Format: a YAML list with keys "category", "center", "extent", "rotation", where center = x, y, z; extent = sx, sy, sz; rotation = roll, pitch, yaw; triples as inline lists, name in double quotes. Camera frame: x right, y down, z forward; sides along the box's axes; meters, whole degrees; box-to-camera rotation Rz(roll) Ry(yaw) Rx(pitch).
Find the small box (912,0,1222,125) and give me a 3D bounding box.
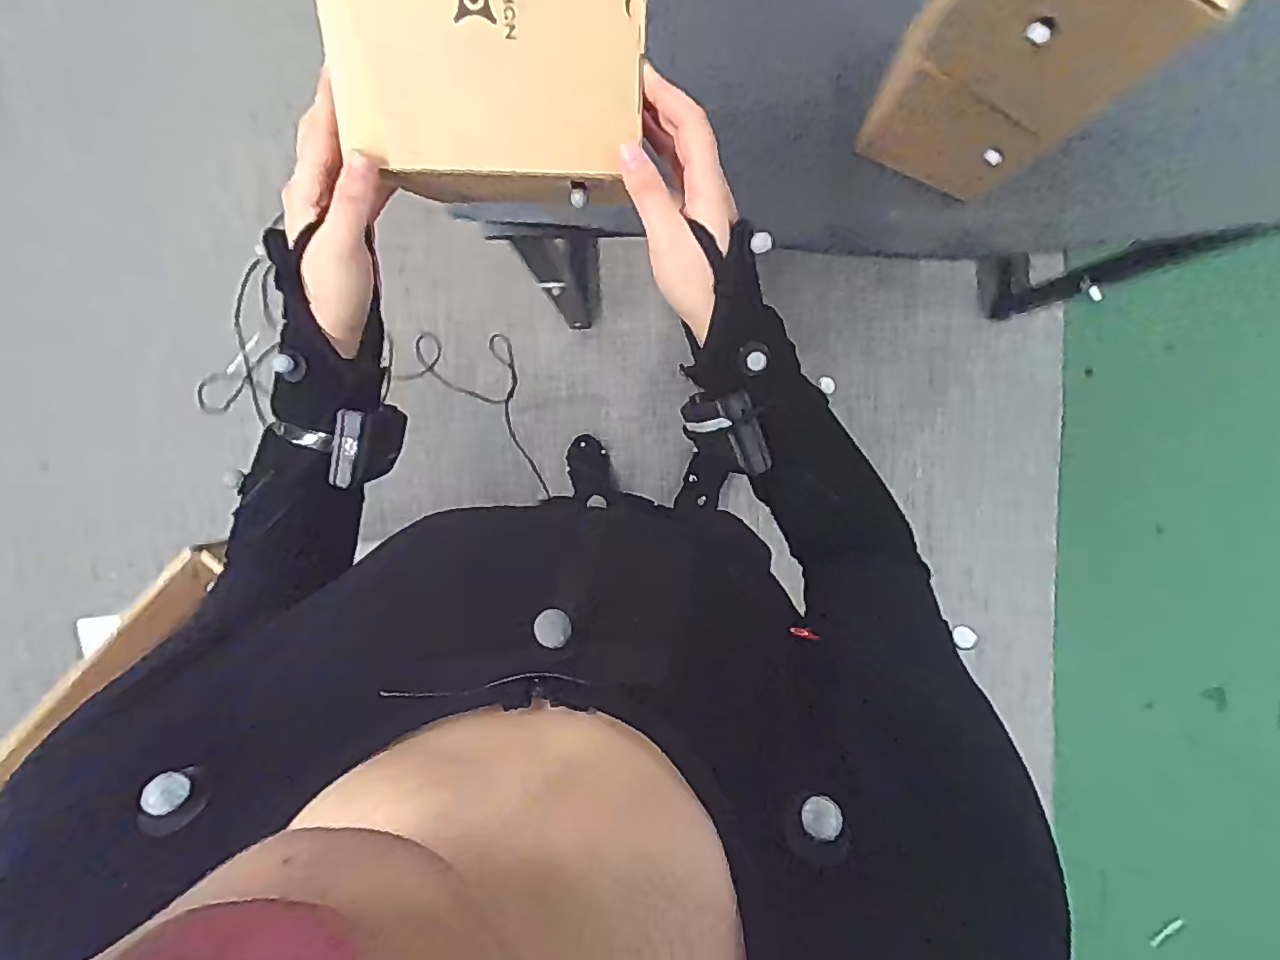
- category: "small box"
  center: [0.384, -0.454, 0.465]
  extent: [0.179, 0.176, 0.168]
  rotation: [31, 93, -1]
